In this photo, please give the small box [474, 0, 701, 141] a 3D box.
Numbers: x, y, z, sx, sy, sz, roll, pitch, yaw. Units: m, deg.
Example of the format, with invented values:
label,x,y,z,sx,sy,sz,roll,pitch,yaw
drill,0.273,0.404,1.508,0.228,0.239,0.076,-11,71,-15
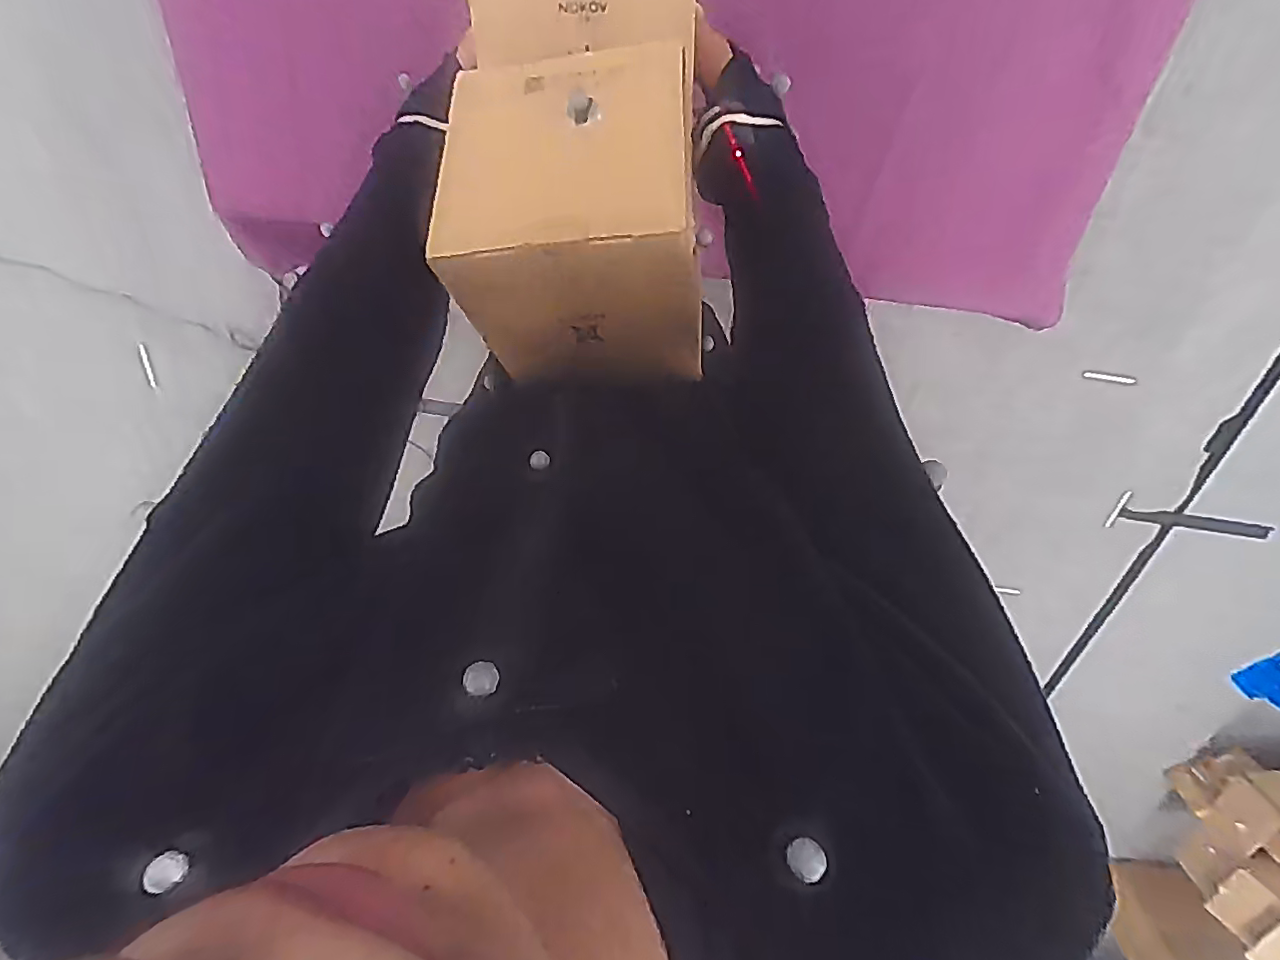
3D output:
label,x,y,z,sx,sy,sz,roll,pitch,yaw
small box,-0.036,-0.391,0.451,0.168,0.176,0.179,1,121,2
